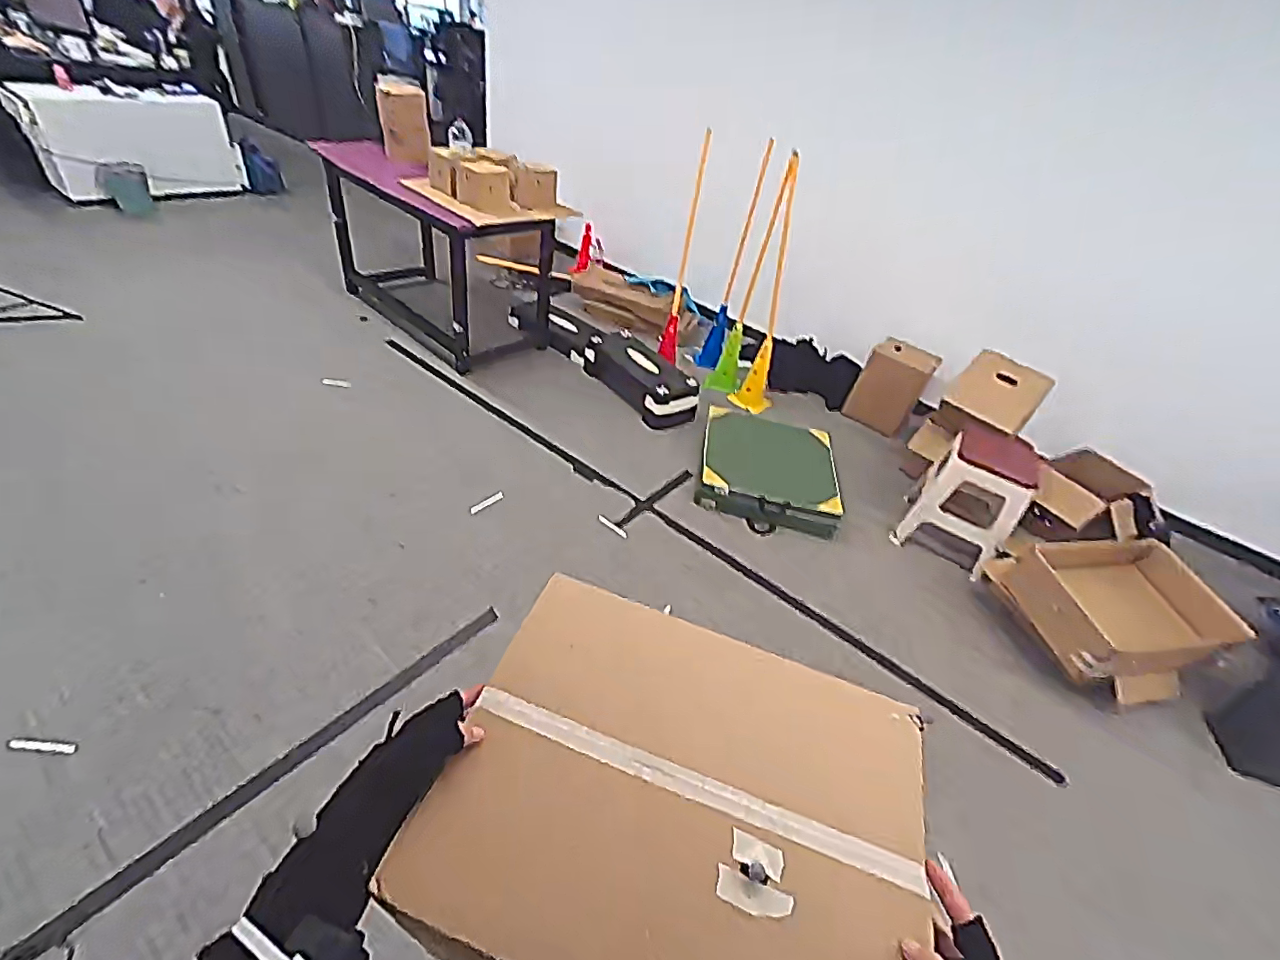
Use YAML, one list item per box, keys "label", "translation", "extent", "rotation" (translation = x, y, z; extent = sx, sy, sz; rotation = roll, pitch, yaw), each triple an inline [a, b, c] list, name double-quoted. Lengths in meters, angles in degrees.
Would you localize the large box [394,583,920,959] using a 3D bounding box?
- label: "large box"
  translation: [0.024, 0.378, 0.581]
  extent: [0.408, 0.320, 0.320]
  rotation: [19, 44, 9]
